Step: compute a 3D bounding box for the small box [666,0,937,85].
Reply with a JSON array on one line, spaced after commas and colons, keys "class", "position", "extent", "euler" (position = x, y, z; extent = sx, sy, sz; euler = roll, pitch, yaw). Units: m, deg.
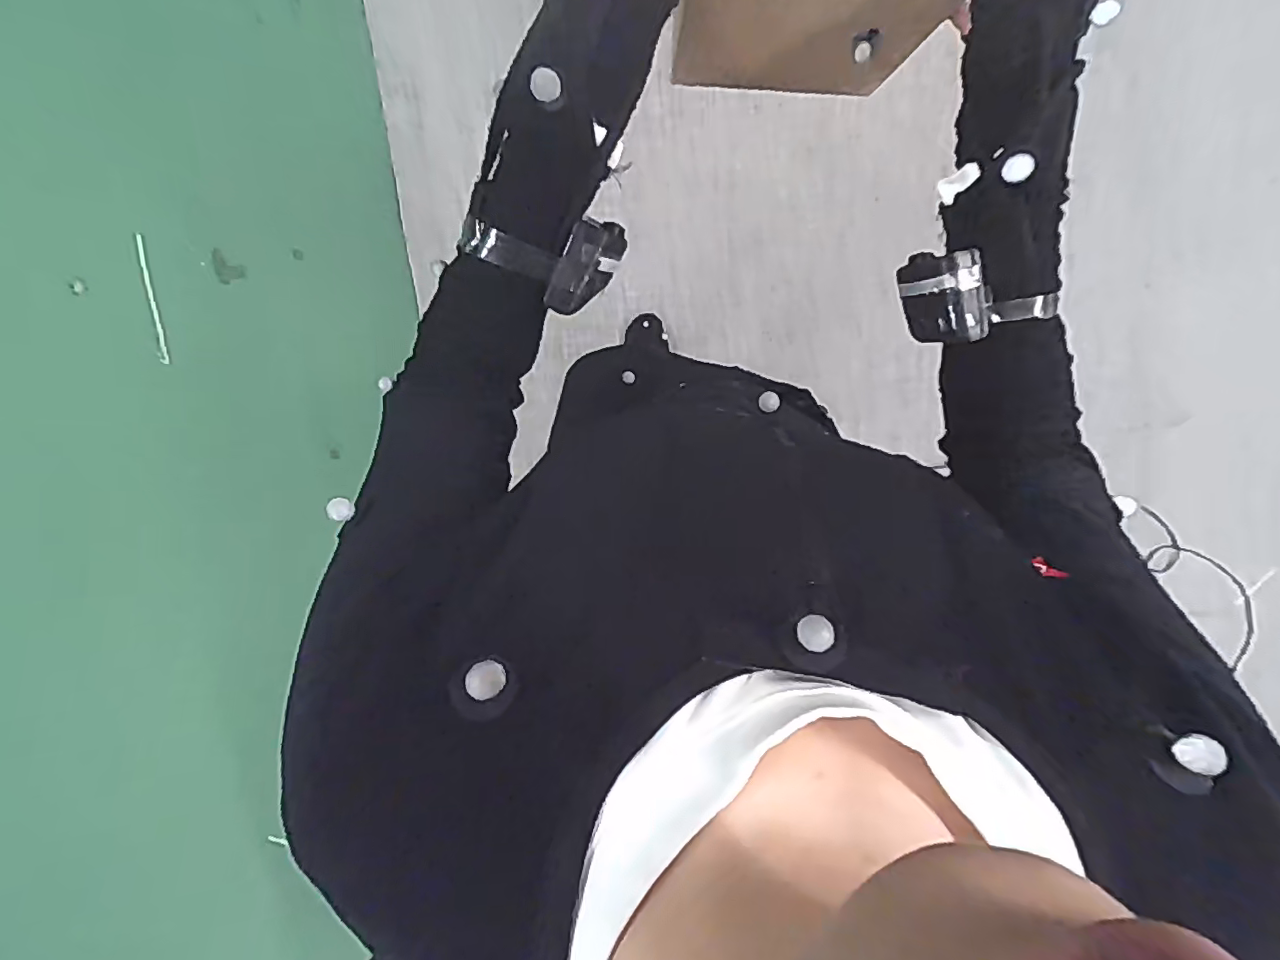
[{"class": "small box", "position": [0.114, -0.400, 0.365], "extent": [0.179, 0.176, 0.168], "euler": [1, 102, -1]}]
